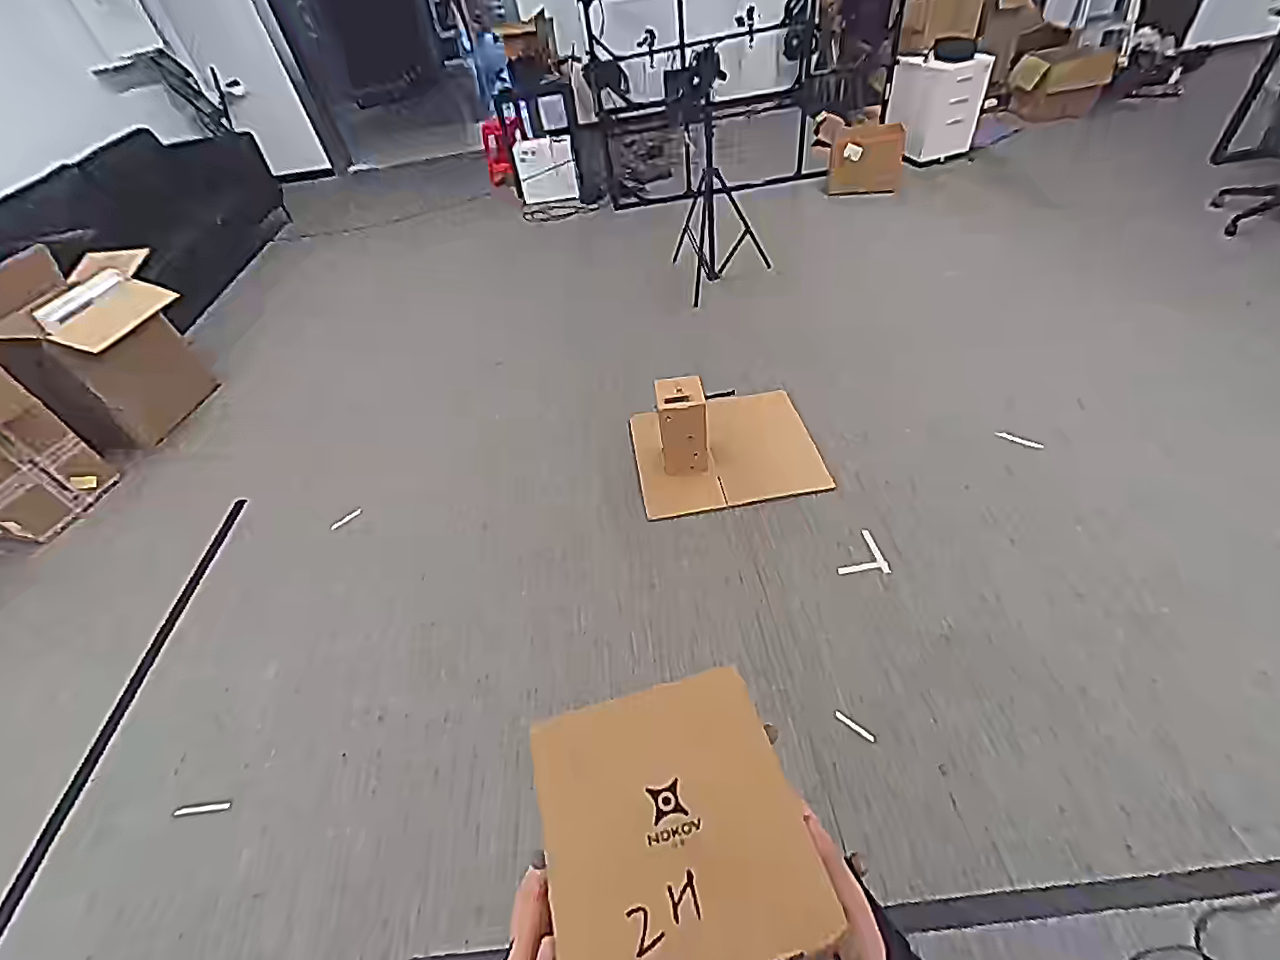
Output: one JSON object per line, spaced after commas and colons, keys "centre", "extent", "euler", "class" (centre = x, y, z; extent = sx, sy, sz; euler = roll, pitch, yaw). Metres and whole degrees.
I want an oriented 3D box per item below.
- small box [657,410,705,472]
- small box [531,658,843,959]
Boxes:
{"centre": [0.160, -0.144, 2.093], "extent": [0.168, 0.176, 0.179], "euler": [-6, 45, 2], "class": "small box"}
{"centre": [0.022, 0.271, 0.408], "extent": [0.168, 0.176, 0.179], "euler": [-14, 44, -8], "class": "small box"}
